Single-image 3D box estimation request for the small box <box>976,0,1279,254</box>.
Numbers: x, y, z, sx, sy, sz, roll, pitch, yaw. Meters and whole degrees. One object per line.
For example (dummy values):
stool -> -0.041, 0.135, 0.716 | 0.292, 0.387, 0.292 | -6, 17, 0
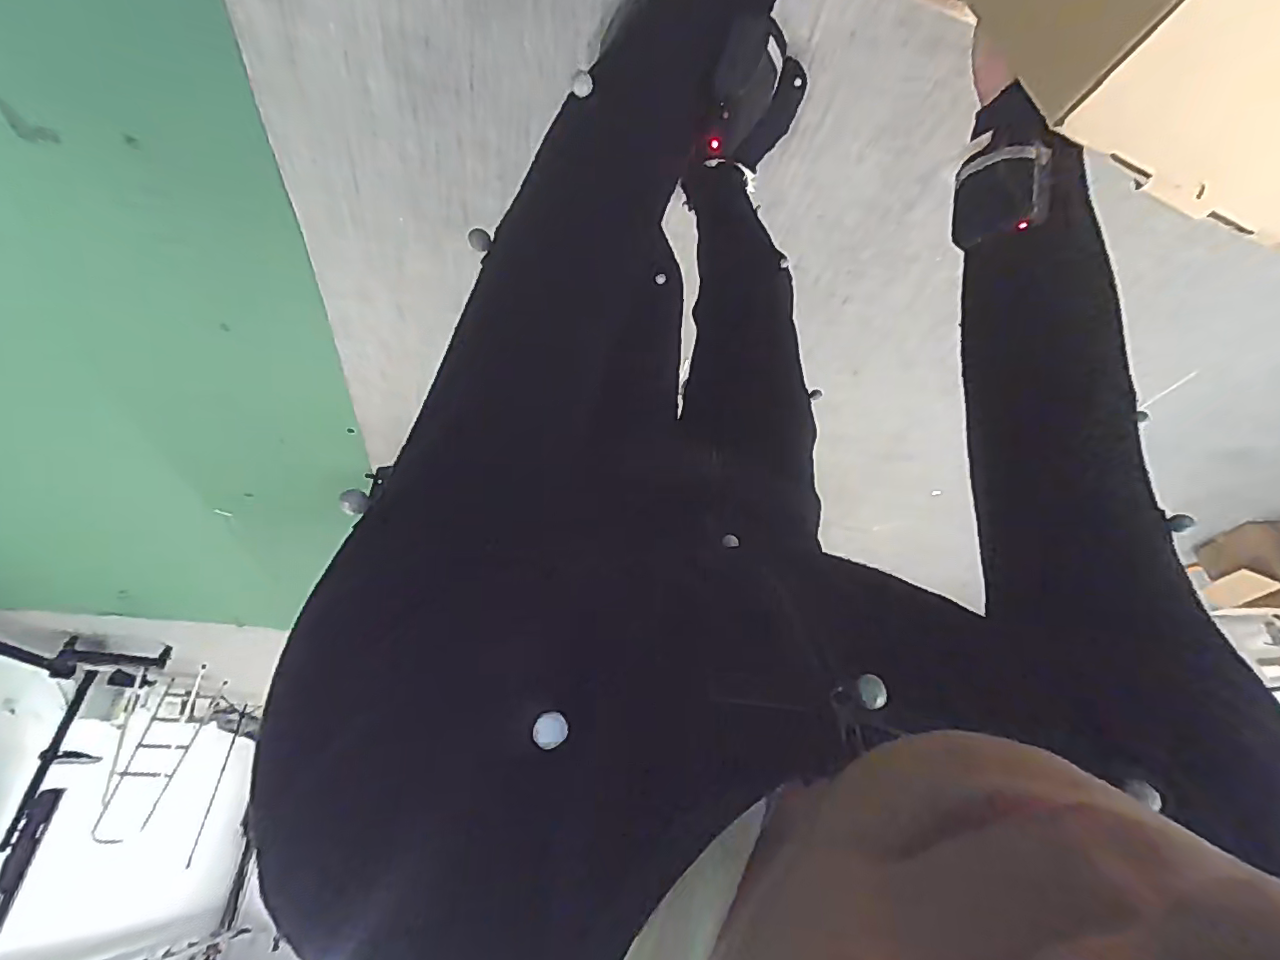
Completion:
small box -> 0.249, -0.225, 0.191 | 0.168, 0.176, 0.179 | 9, 149, -20
